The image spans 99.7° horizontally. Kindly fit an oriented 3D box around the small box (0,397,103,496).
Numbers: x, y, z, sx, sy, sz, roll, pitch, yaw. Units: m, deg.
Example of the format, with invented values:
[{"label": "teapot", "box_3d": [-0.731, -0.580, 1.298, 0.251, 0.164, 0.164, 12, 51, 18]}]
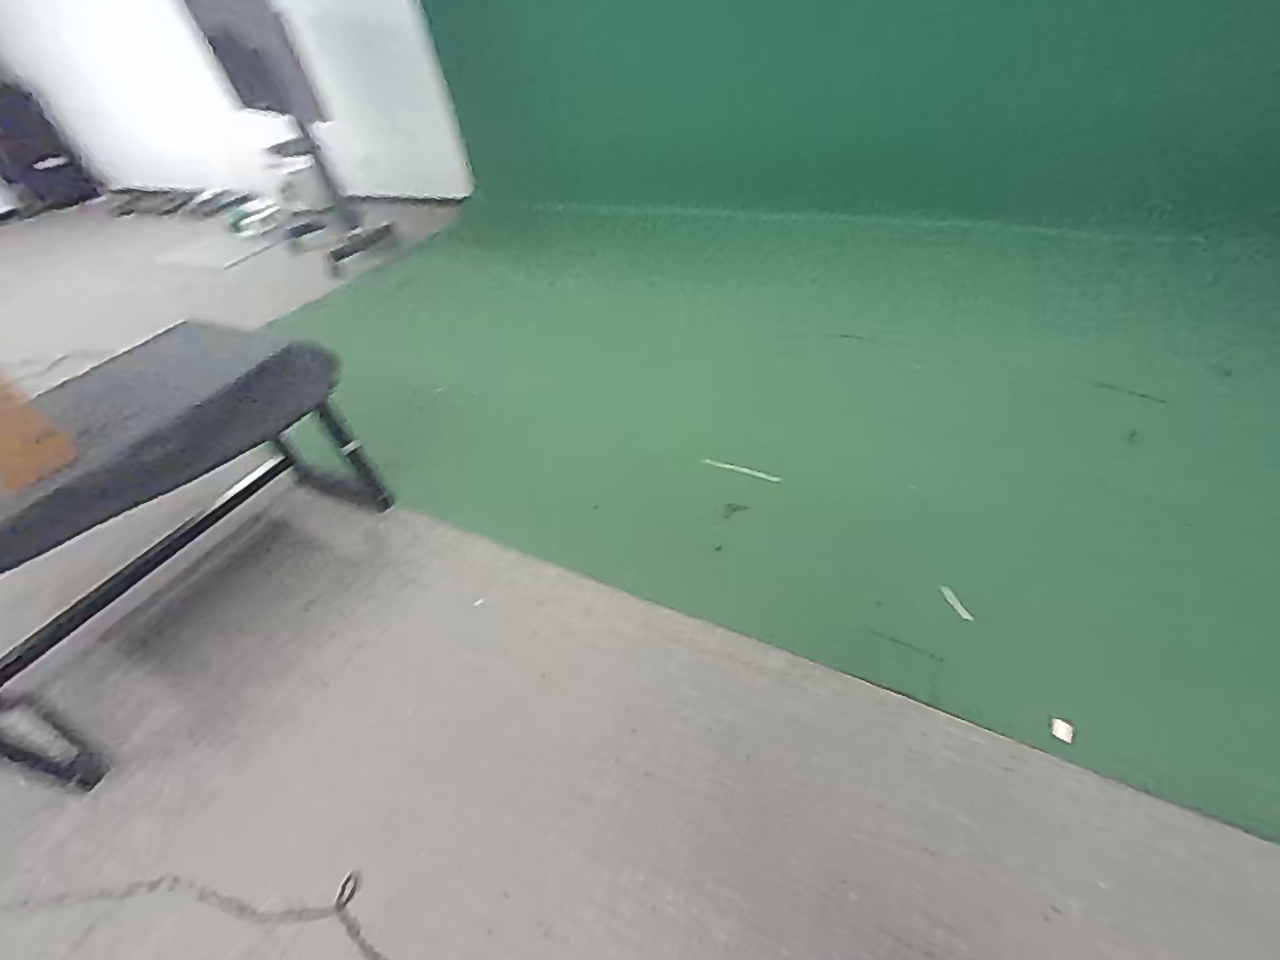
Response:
[{"label": "small box", "box_3d": [-1.485, -0.090, 1.323, 0.168, 0.176, 0.179, 13, 50, 26]}]
